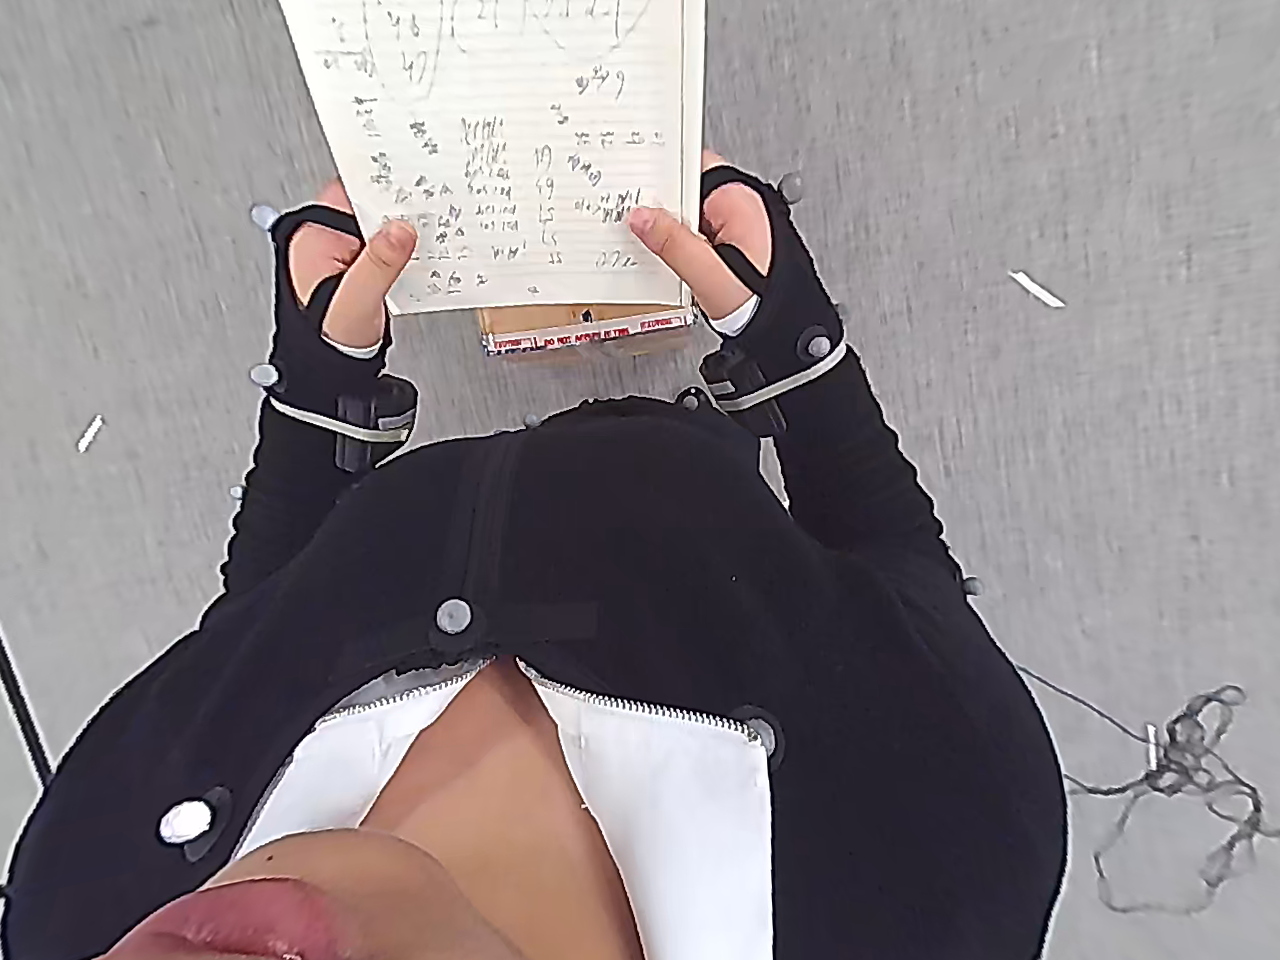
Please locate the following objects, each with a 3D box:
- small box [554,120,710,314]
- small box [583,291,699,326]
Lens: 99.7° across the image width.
[{"bbox_3d":[-0.009,-0.329,0.709,0.168,0.176,0.179,-9,100,2],"label":"small box"},{"bbox_3d":[-0.012,-0.355,0.872,0.179,0.176,0.168,-12,99,3],"label":"small box"}]
